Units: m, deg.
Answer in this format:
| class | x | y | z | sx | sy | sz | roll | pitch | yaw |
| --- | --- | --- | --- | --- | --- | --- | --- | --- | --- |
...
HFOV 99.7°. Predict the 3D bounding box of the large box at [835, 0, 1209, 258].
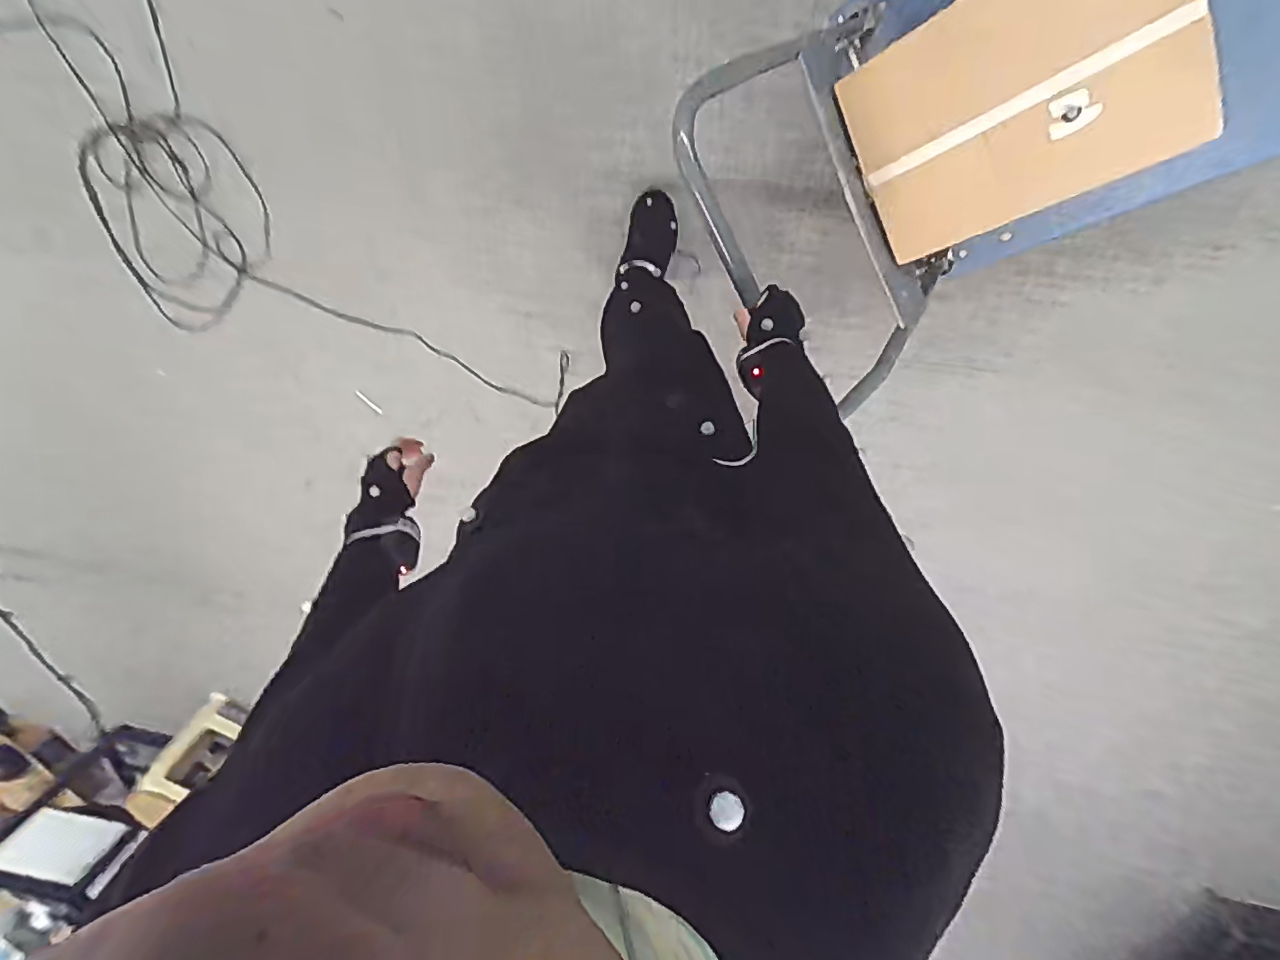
| class | x | y | z | sx | sy | sz | roll | pitch | yaw |
| --- | --- | --- | --- | --- | --- | --- | --- | --- | --- |
| large box | 0.600 | -0.635 | 0.888 | 0.408 | 0.320 | 0.320 | -12 | 118 | 42 |
